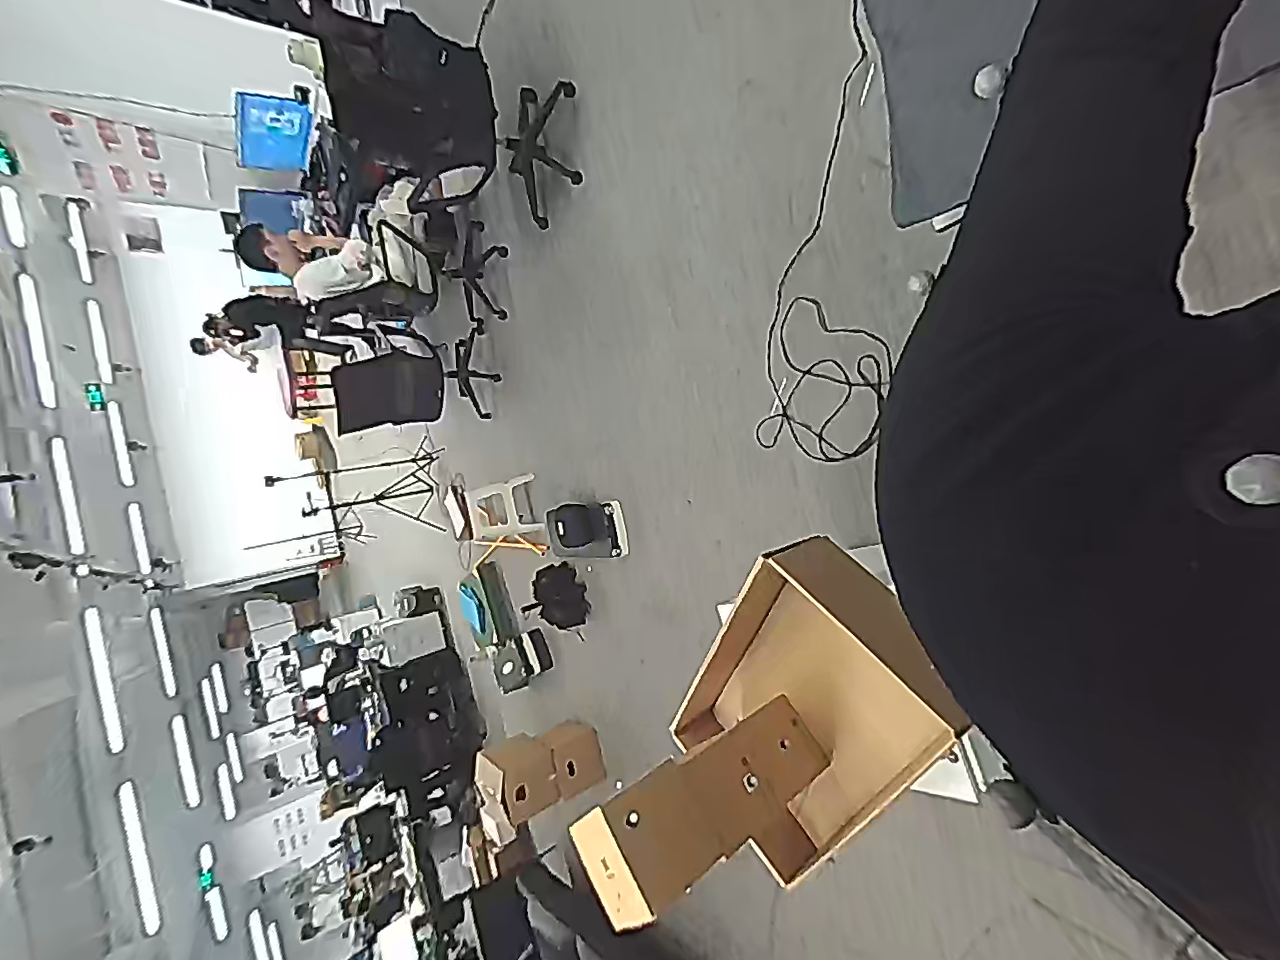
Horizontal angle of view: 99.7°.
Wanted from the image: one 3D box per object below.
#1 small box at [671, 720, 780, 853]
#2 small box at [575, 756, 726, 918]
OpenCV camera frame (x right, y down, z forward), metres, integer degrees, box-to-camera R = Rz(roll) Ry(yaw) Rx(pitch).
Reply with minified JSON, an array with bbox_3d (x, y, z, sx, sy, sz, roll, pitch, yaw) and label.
[{"bbox_3d":[0.141,0.610,1.070,0.168,0.176,0.179,57,137,22],"label":"small box"},{"bbox_3d":[0.016,0.623,0.963,0.179,0.176,0.168,54,137,24],"label":"small box"}]
